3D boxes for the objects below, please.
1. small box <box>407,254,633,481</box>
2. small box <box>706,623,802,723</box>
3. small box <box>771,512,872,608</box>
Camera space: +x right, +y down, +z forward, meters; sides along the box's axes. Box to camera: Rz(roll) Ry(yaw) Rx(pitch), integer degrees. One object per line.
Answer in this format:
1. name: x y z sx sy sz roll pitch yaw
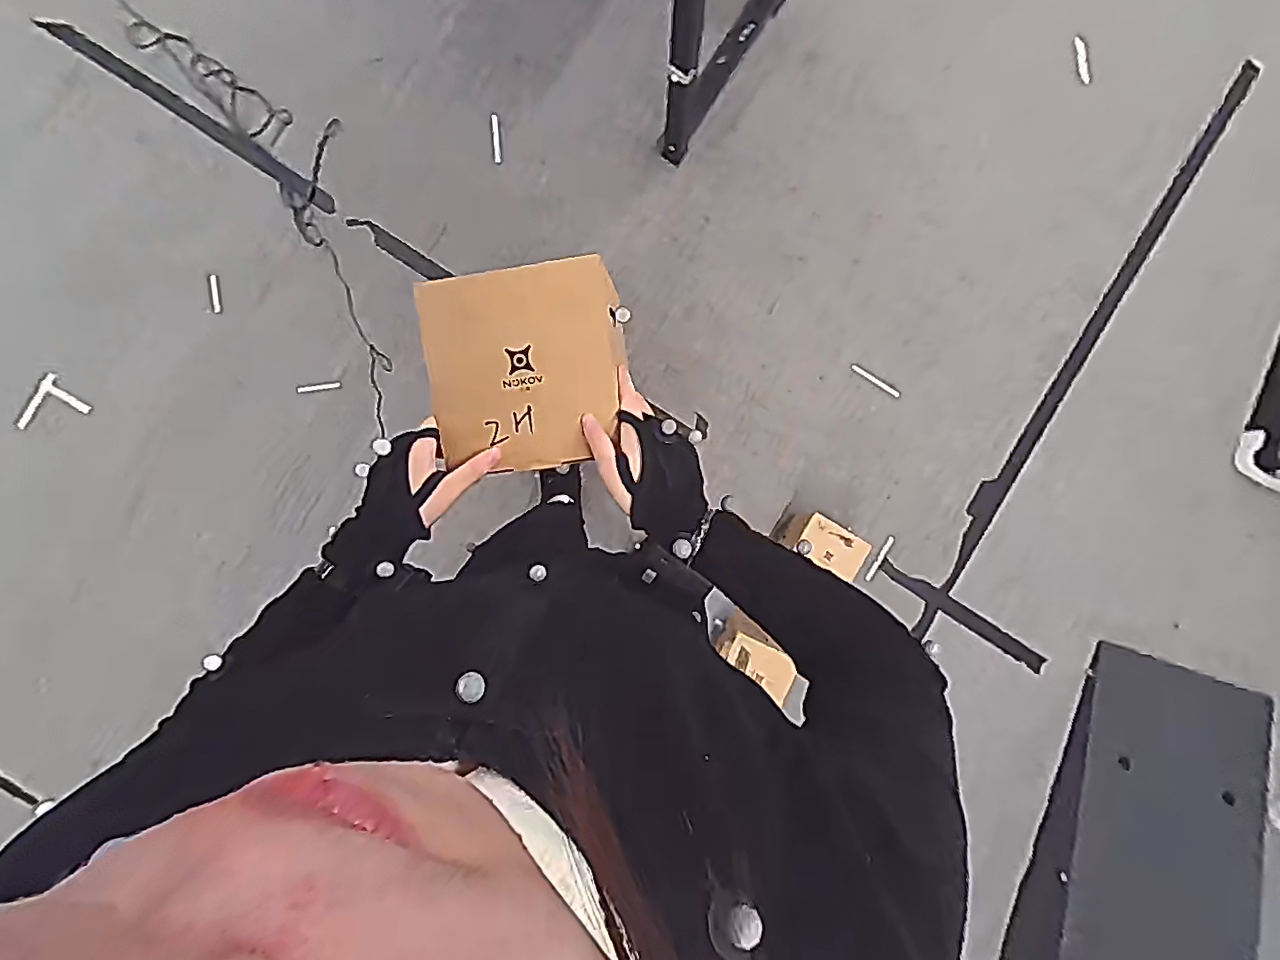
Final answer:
1. small box: -0.103 -0.102 0.540 0.168 0.176 0.179 -8 97 5
2. small box: 0.285 0.487 1.399 0.179 0.176 0.168 26 89 0
3. small box: 0.459 0.200 1.402 0.168 0.176 0.179 33 90 1
